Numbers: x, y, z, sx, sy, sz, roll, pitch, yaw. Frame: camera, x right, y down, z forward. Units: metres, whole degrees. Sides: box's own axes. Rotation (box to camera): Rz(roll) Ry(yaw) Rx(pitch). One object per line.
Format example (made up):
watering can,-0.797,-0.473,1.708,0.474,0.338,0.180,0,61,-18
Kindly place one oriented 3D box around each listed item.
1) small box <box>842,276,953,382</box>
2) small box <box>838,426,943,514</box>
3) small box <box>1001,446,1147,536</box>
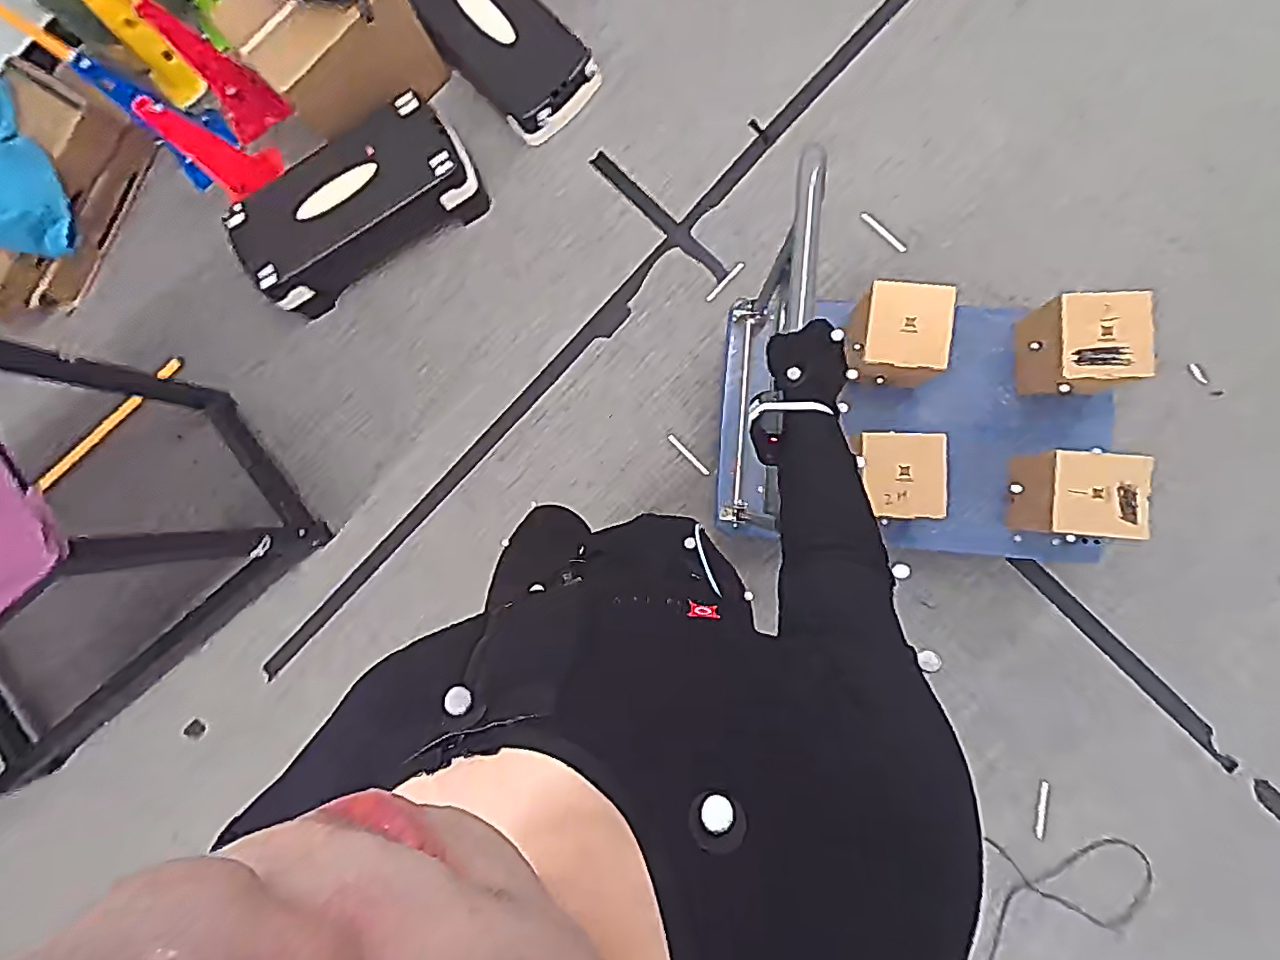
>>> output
small box,0.559,-0.327,1.195,0.168,0.176,0.179,7,90,5
small box,0.540,-0.017,1.184,0.168,0.176,0.179,2,88,6
small box,0.909,0.023,1.145,0.179,0.176,0.168,5,88,7
